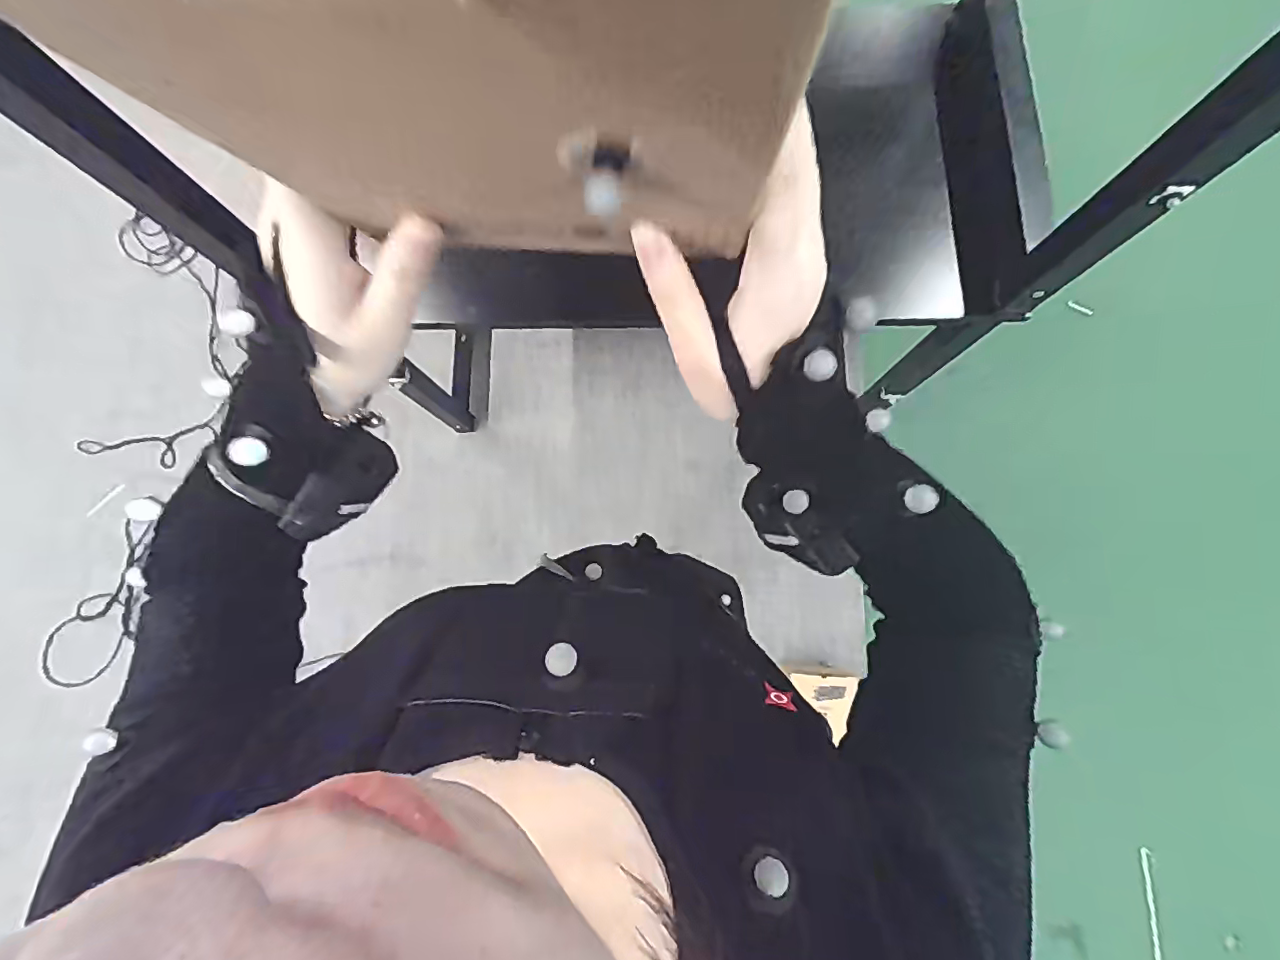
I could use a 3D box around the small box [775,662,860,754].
[{"bbox_3d":[0.438,0.562,1.355,0.168,0.176,0.179,4,82,3],"label":"small box"}]
